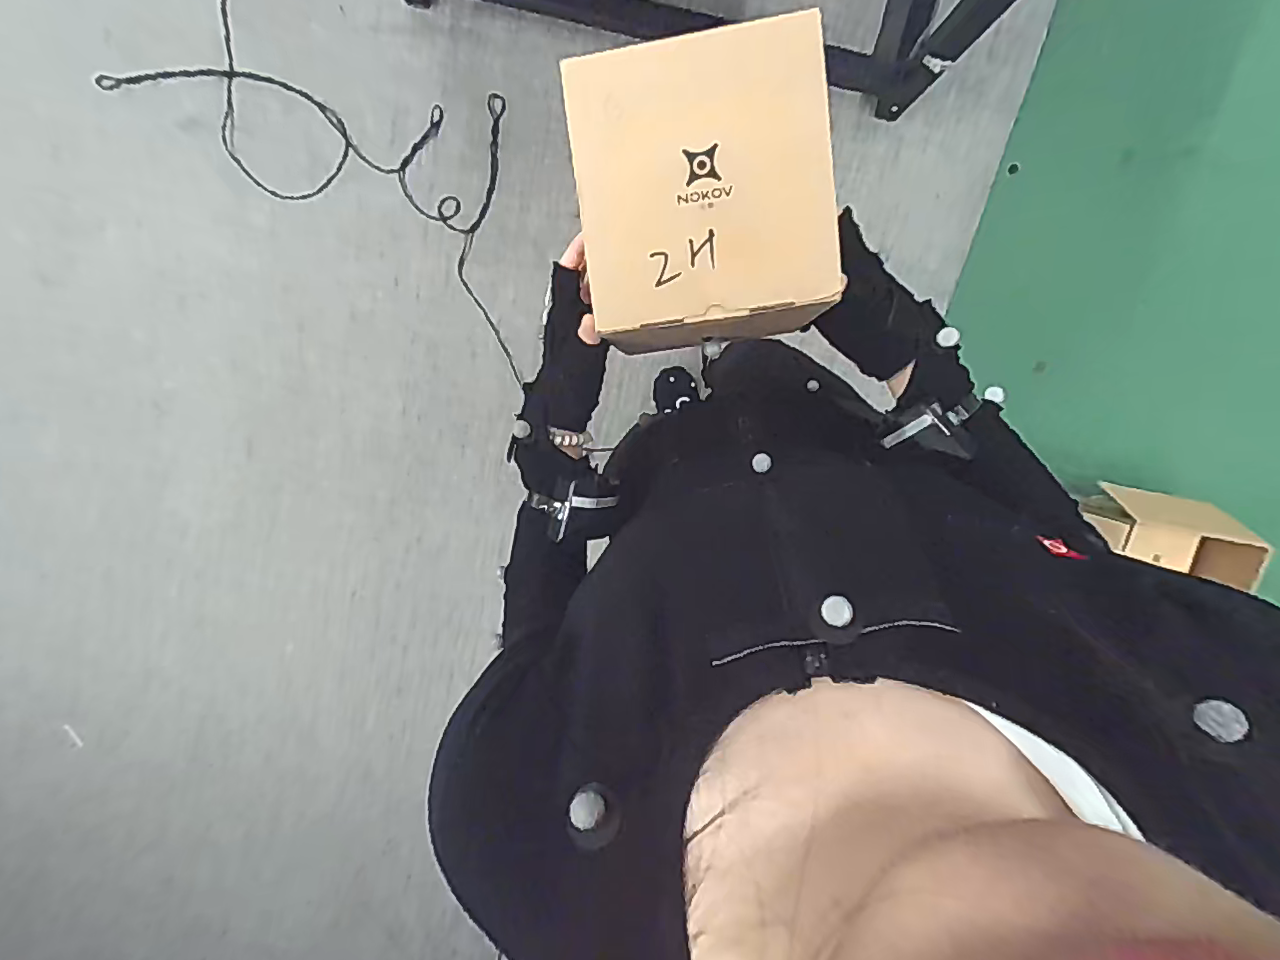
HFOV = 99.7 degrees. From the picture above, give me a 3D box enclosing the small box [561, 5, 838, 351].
[{"bbox_3d":[0.046,-0.206,0.425,0.168,0.176,0.179,-6,98,7],"label":"small box"}]
